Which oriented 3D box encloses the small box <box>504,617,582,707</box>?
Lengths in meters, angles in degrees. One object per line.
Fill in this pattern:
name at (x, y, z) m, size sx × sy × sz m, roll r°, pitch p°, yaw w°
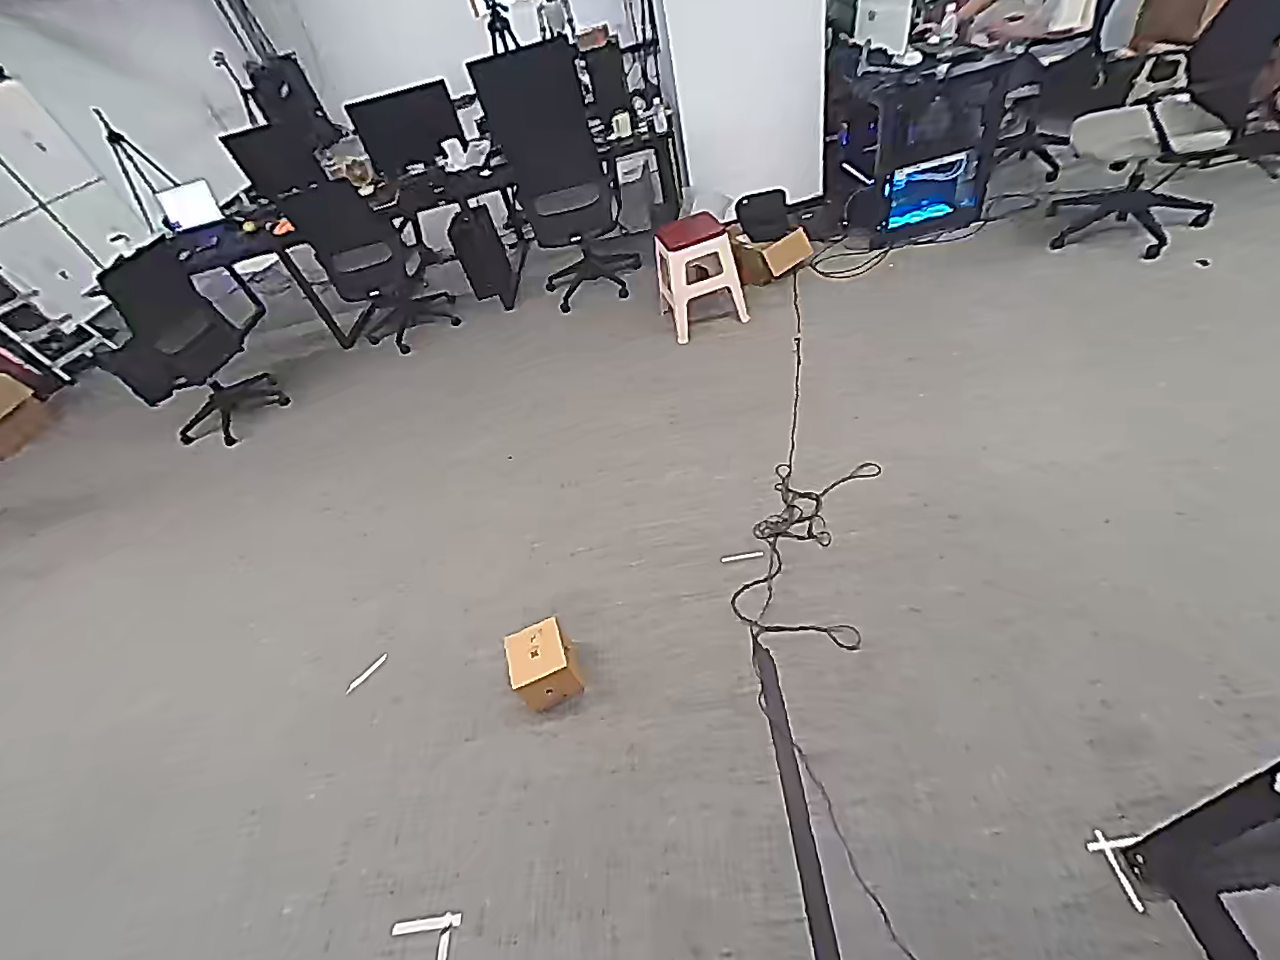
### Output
small box at (-0.285, 0.548, 1.604) m, size 0.168 × 0.176 × 0.179 m, roll -23°, pitch 44°, yaw -4°
